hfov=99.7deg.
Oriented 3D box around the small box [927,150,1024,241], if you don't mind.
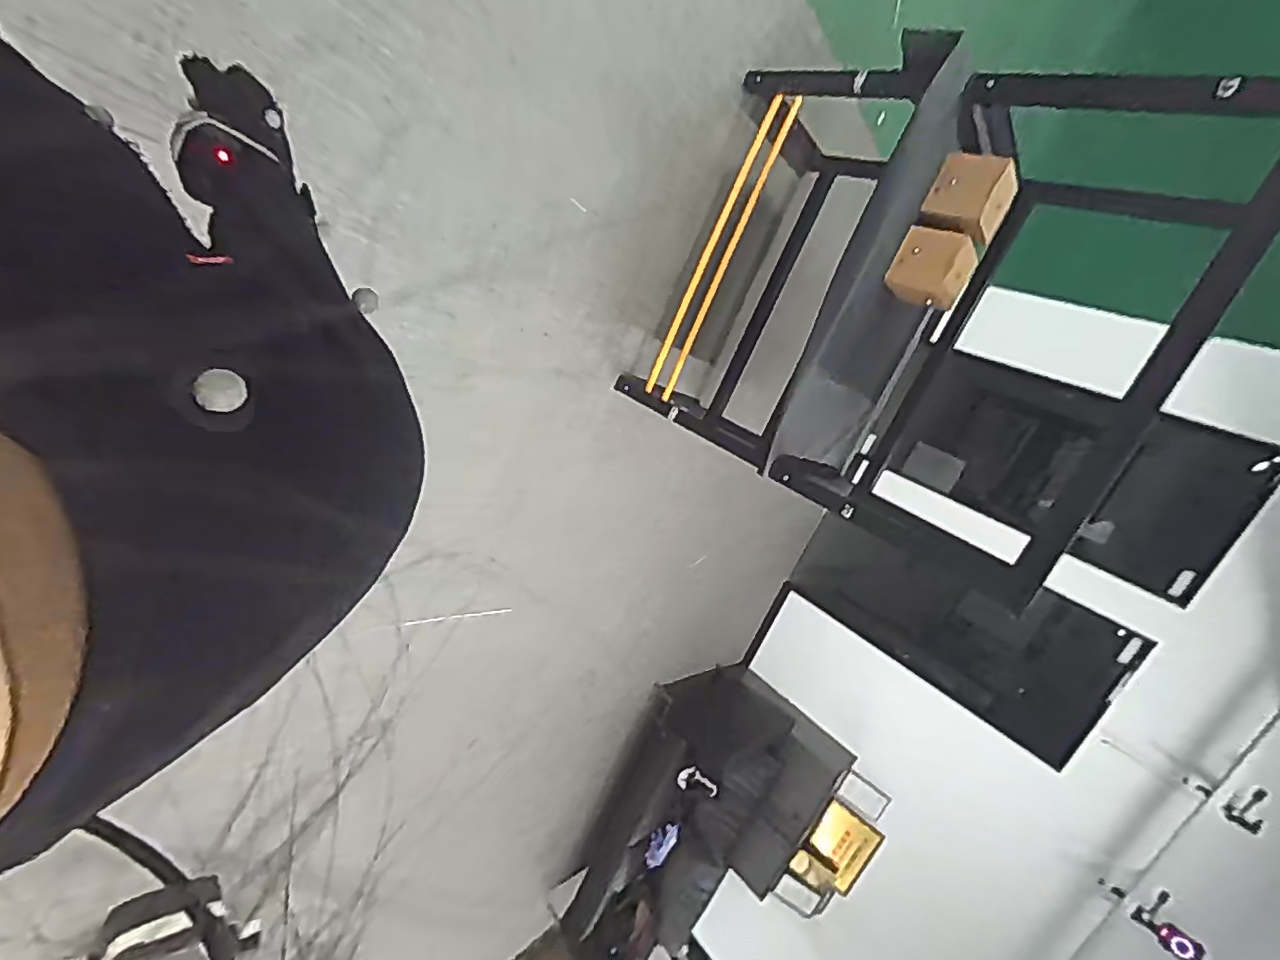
[{"bbox_3d":[0.957,-0.817,1.546,0.179,0.176,0.168,8,112,-51],"label":"small box"}]
